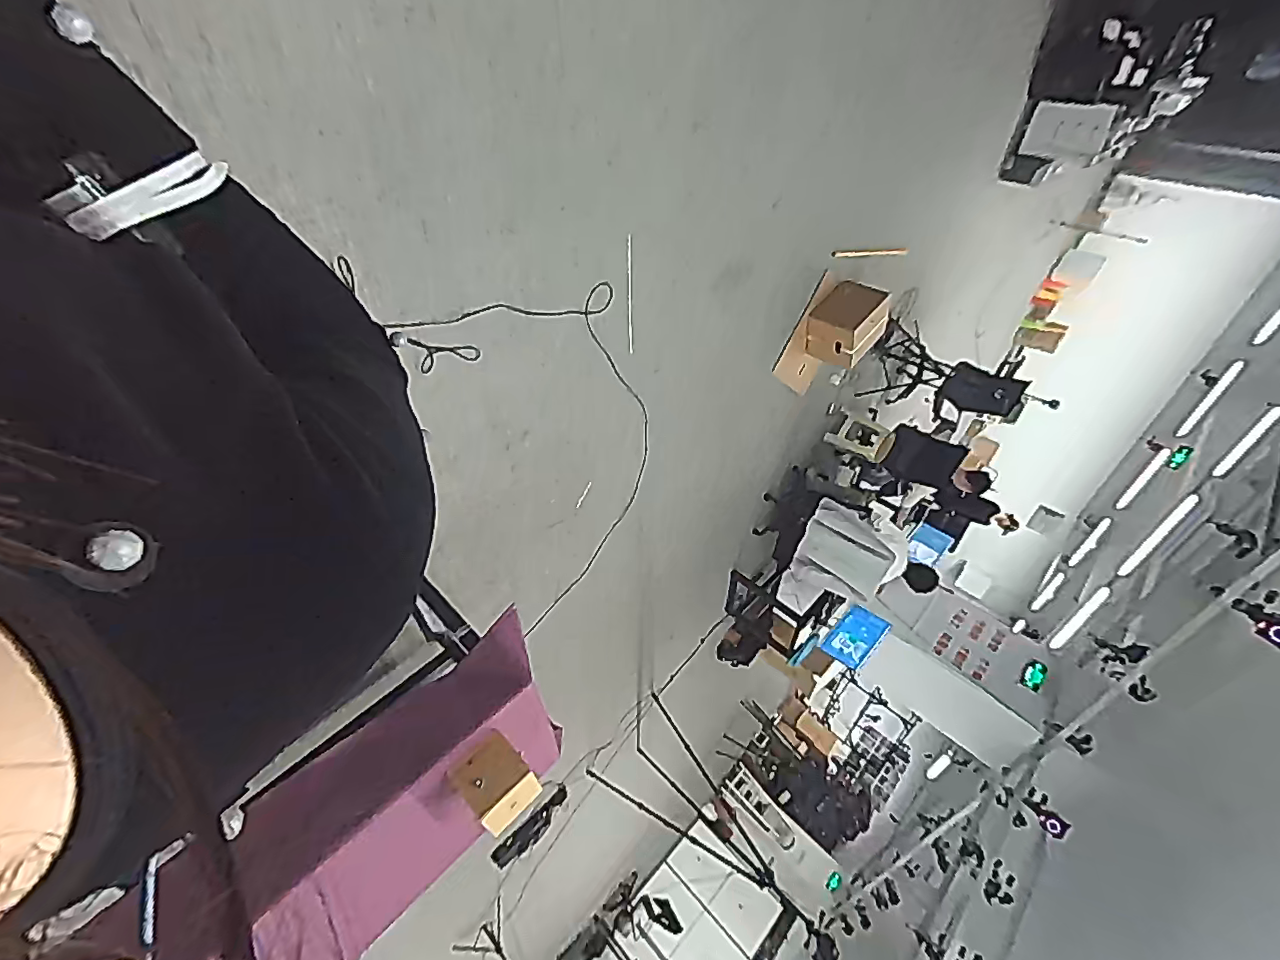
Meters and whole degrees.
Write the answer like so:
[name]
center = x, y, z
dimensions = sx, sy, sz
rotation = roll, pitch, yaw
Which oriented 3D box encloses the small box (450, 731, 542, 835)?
[small box]
center = -0.400, 0.834, 1.502
dimensions = 0.168, 0.176, 0.179
rotation = -37, 144, -28
